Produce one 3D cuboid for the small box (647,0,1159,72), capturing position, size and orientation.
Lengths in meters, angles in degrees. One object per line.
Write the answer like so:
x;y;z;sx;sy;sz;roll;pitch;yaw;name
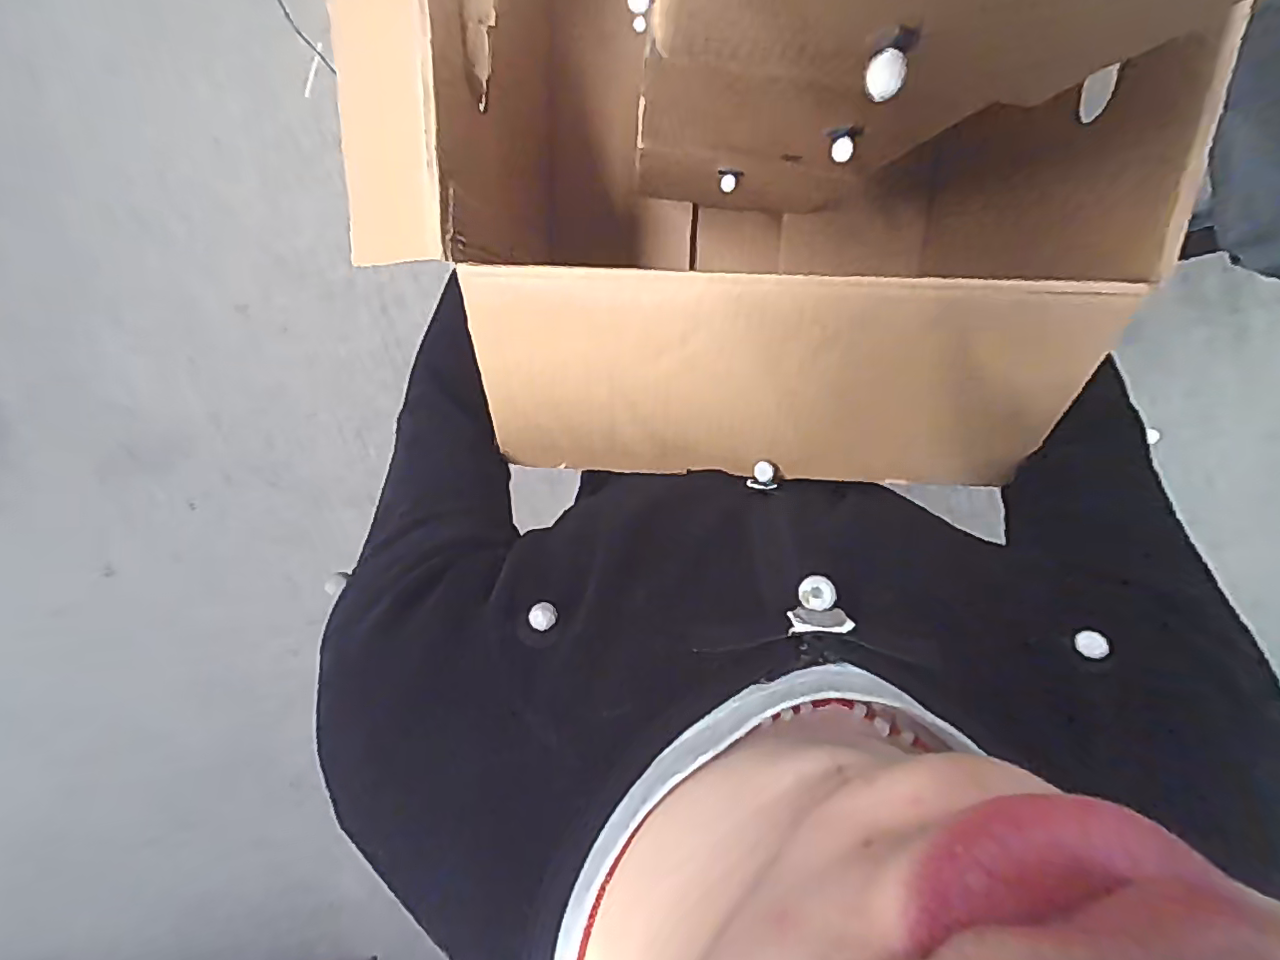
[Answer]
0.099;-0.232;0.131;0.179;0.176;0.168;4;107;-4;small box
